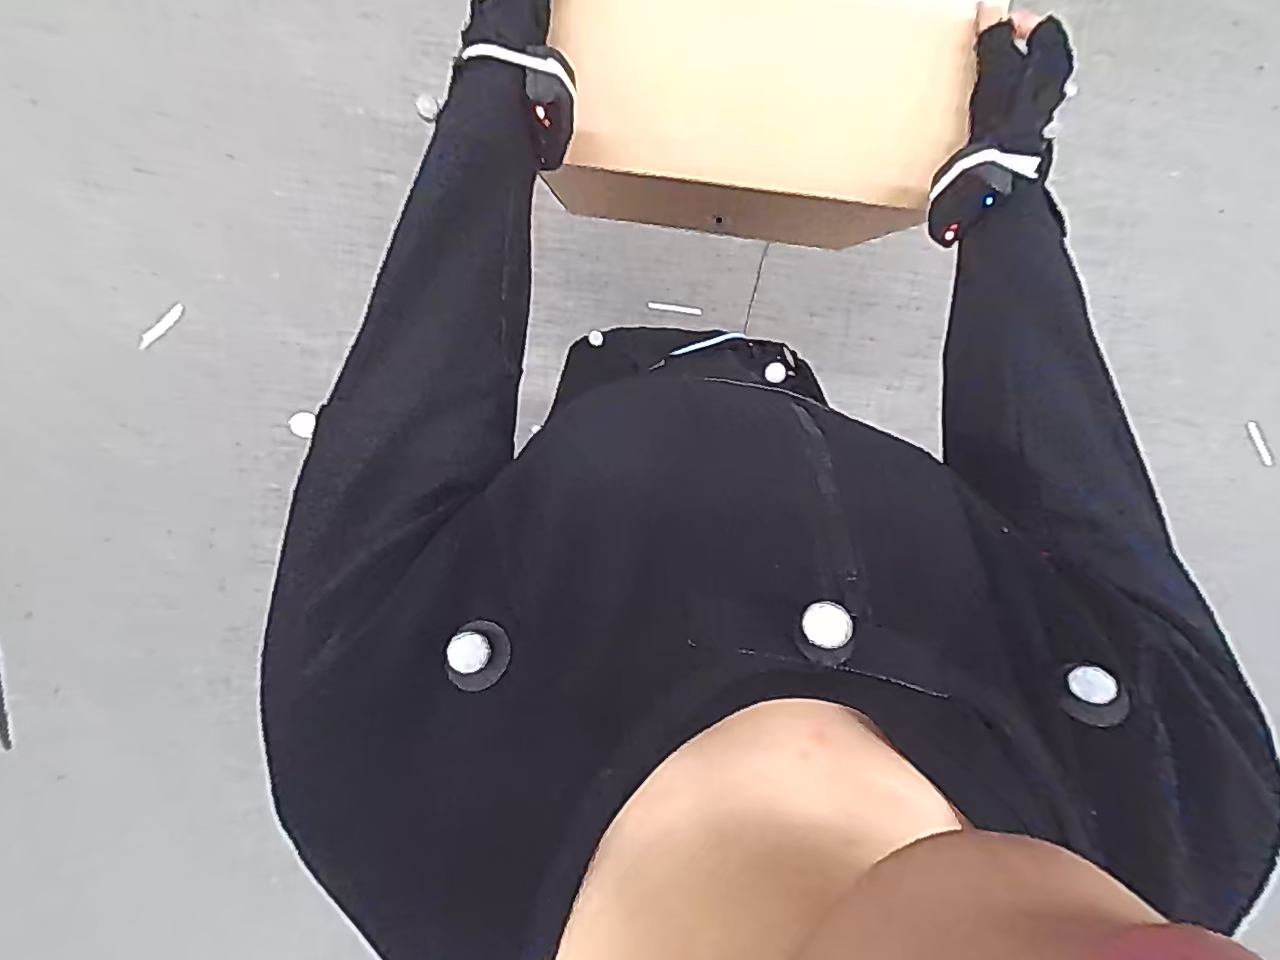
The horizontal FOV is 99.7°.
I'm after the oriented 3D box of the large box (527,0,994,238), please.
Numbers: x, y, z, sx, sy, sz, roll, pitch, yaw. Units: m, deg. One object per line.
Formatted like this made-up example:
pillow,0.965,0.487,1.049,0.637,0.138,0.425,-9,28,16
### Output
large box,0.113,-0.474,0.606,0.408,0.320,0.320,8,106,-1
